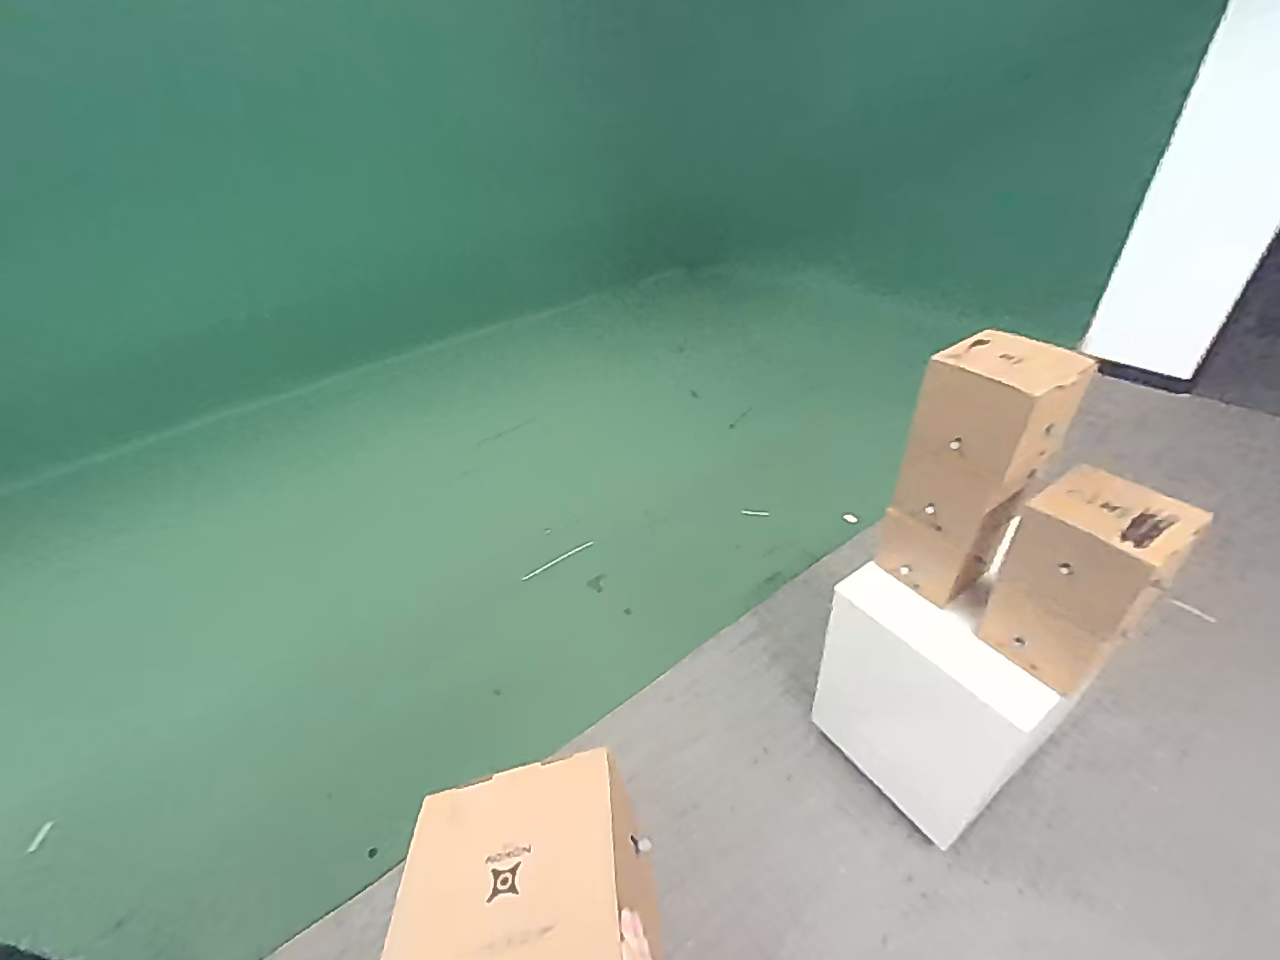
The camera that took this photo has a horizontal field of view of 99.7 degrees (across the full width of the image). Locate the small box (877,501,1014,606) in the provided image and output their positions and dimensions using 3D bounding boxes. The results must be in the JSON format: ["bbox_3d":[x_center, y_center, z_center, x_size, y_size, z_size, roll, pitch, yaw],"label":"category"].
[{"bbox_3d":[0.619,0.122,1.118,0.179,0.176,0.168,-27,43,-22],"label":"small box"}]

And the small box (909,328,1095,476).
[{"bbox_3d":[0.591,-0.127,0.905,0.168,0.176,0.179,-25,43,-22],"label":"small box"}]

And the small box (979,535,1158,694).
[{"bbox_3d":[0.742,0.235,0.957,0.179,0.176,0.168,-25,41,-21],"label":"small box"}]

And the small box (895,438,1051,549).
[{"bbox_3d":[0.610,-0.005,1.014,0.179,0.176,0.168,-25,42,-22],"label":"small box"}]
